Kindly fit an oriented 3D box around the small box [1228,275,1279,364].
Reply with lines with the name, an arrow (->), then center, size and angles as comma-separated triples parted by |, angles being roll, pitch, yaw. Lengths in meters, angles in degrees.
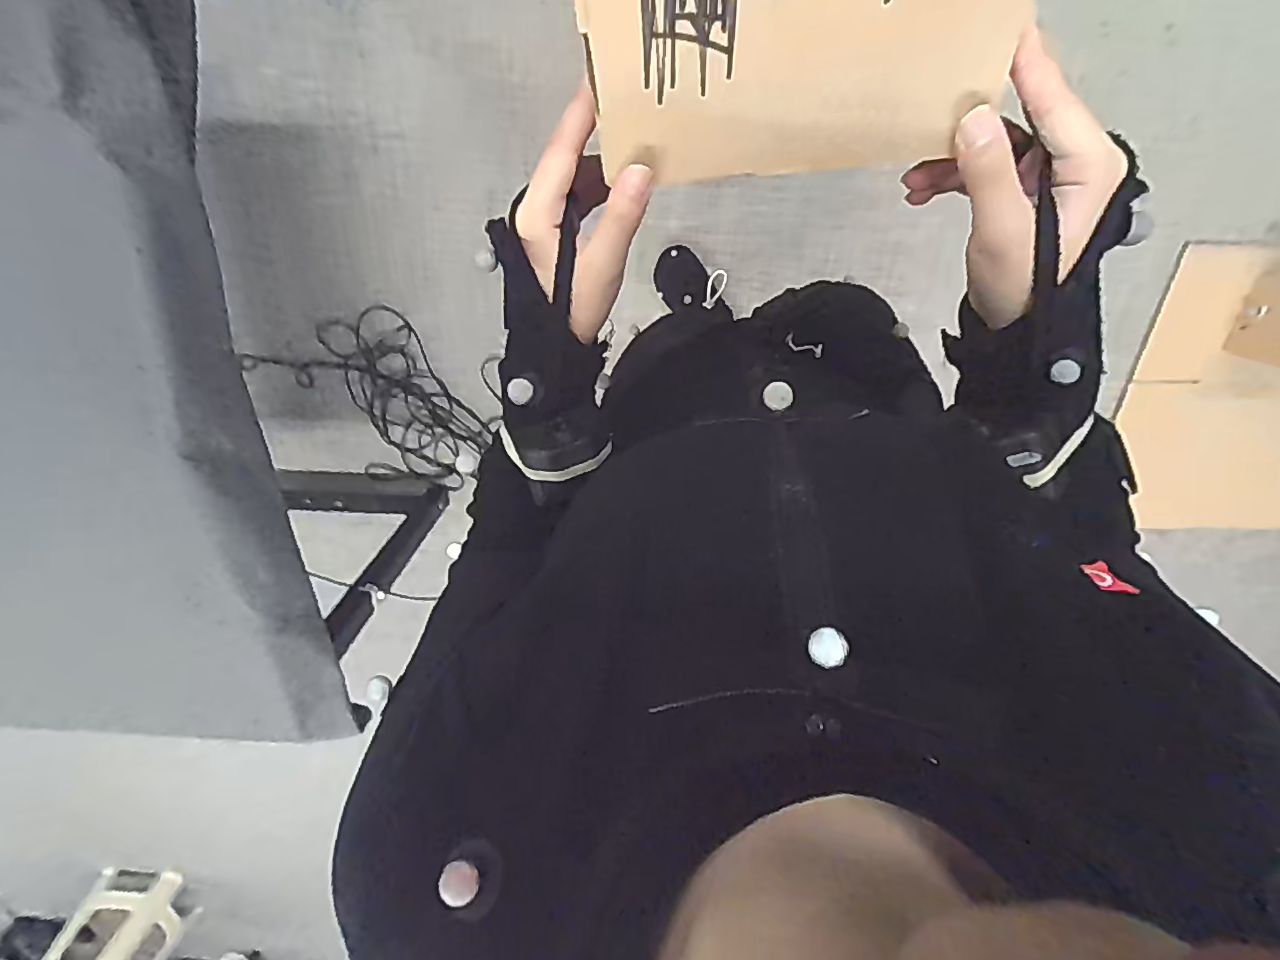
small box -> 1.401, -0.326, 1.106 | 0.179, 0.176, 0.168 | 1, 116, 3
